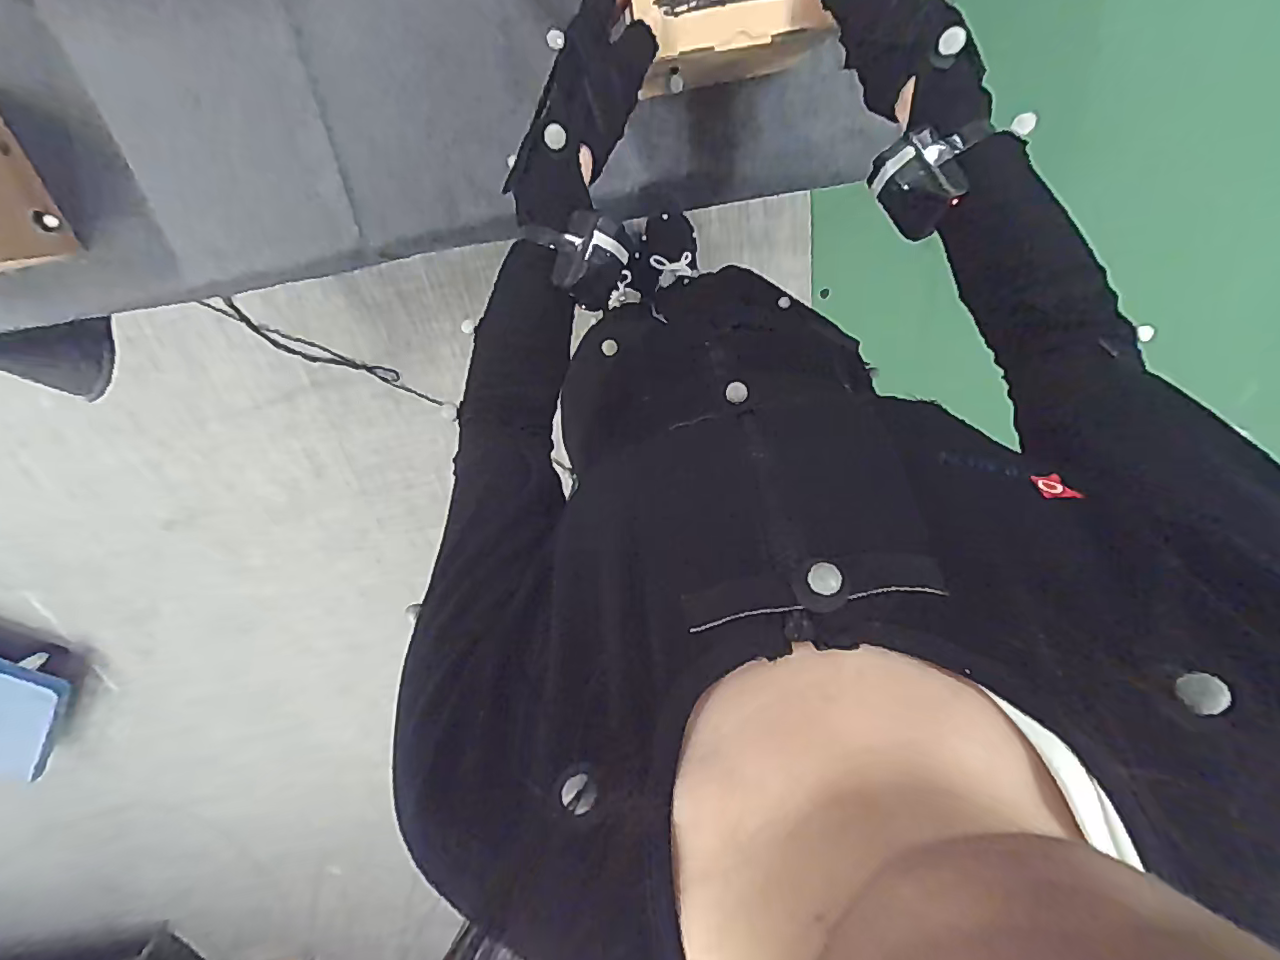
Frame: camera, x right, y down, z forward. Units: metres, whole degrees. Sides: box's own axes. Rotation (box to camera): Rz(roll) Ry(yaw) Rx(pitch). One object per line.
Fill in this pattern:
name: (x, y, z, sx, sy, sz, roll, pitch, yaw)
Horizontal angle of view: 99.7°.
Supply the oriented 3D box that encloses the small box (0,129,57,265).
small box: (-0.729, -0.282, 0.508, 0.179, 0.176, 0.168, -10, 118, 3)
